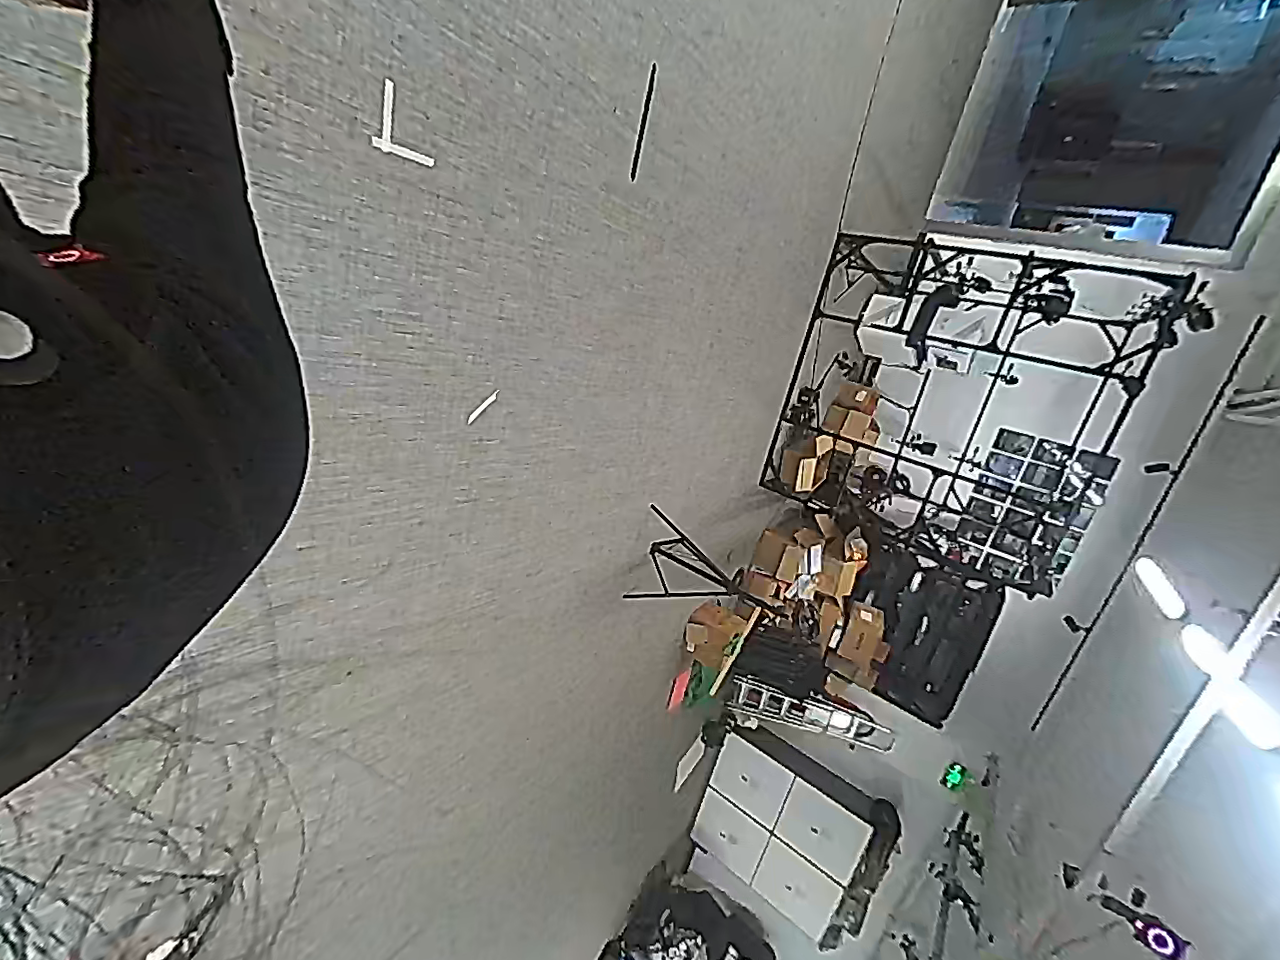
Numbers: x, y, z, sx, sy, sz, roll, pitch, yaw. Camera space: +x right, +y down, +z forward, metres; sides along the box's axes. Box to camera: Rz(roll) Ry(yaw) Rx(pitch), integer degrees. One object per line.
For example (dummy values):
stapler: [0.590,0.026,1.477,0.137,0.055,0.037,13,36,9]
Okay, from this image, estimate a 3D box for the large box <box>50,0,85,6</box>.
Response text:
large box: [-0.569,-0.504,0.238,0.408,0.320,0.320,-11,128,-53]
